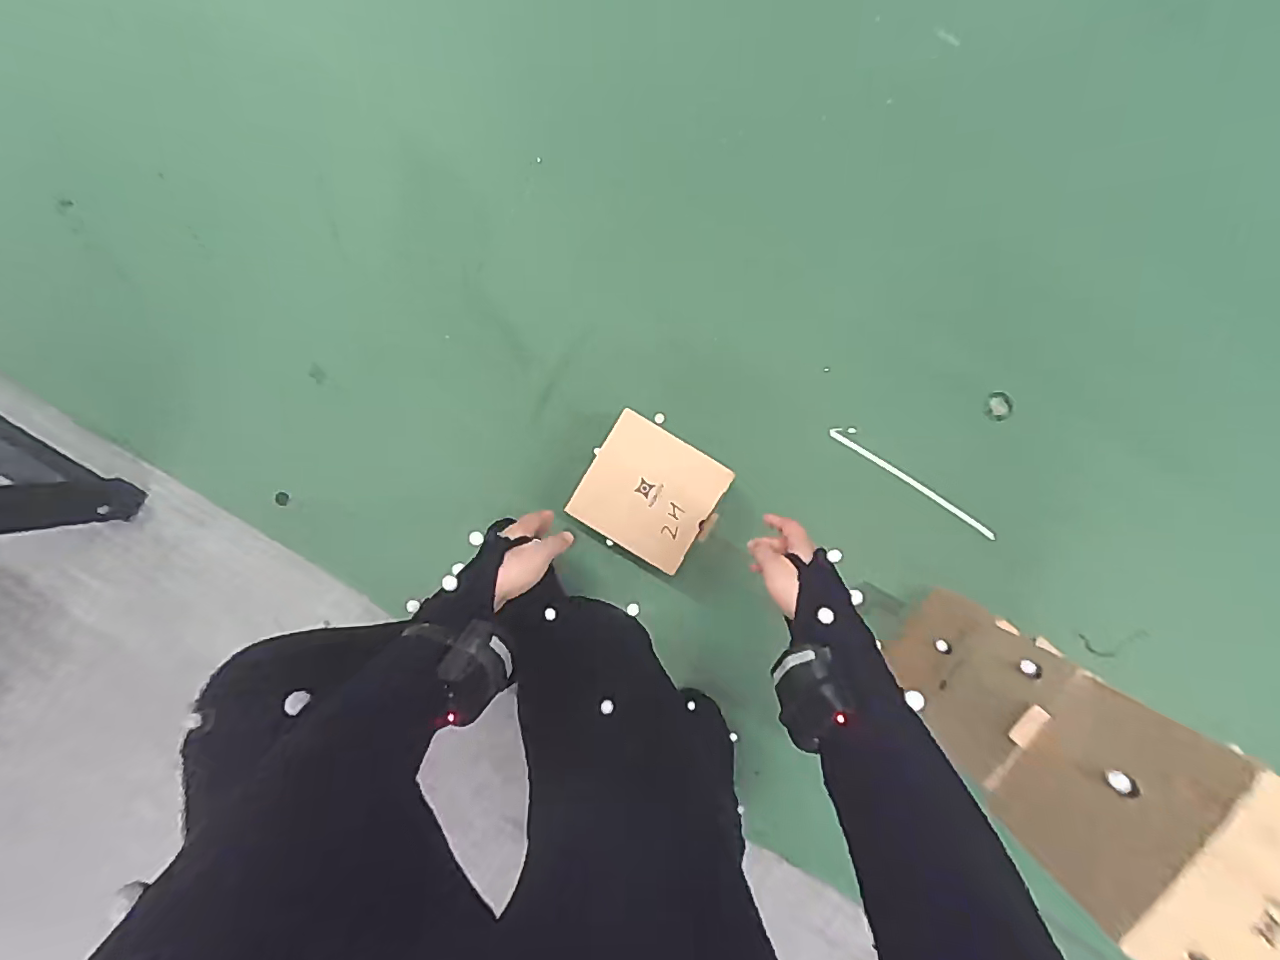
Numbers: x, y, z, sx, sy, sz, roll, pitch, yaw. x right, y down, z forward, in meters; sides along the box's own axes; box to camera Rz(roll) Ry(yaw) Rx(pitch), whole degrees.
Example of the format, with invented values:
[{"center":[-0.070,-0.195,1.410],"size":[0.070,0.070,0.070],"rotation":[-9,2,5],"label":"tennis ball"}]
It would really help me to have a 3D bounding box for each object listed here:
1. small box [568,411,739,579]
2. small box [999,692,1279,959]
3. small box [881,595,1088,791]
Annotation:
[{"center":[0.019,0.017,0.799],"size":[0.179,0.176,0.168],"rotation":[32,95,-1],"label":"small box"},{"center":[0.475,0.327,0.479],"size":[0.168,0.176,0.179],"rotation":[36,92,-2],"label":"small box"},{"center":[0.493,0.303,0.807],"size":[0.168,0.176,0.179],"rotation":[40,93,-2],"label":"small box"}]
